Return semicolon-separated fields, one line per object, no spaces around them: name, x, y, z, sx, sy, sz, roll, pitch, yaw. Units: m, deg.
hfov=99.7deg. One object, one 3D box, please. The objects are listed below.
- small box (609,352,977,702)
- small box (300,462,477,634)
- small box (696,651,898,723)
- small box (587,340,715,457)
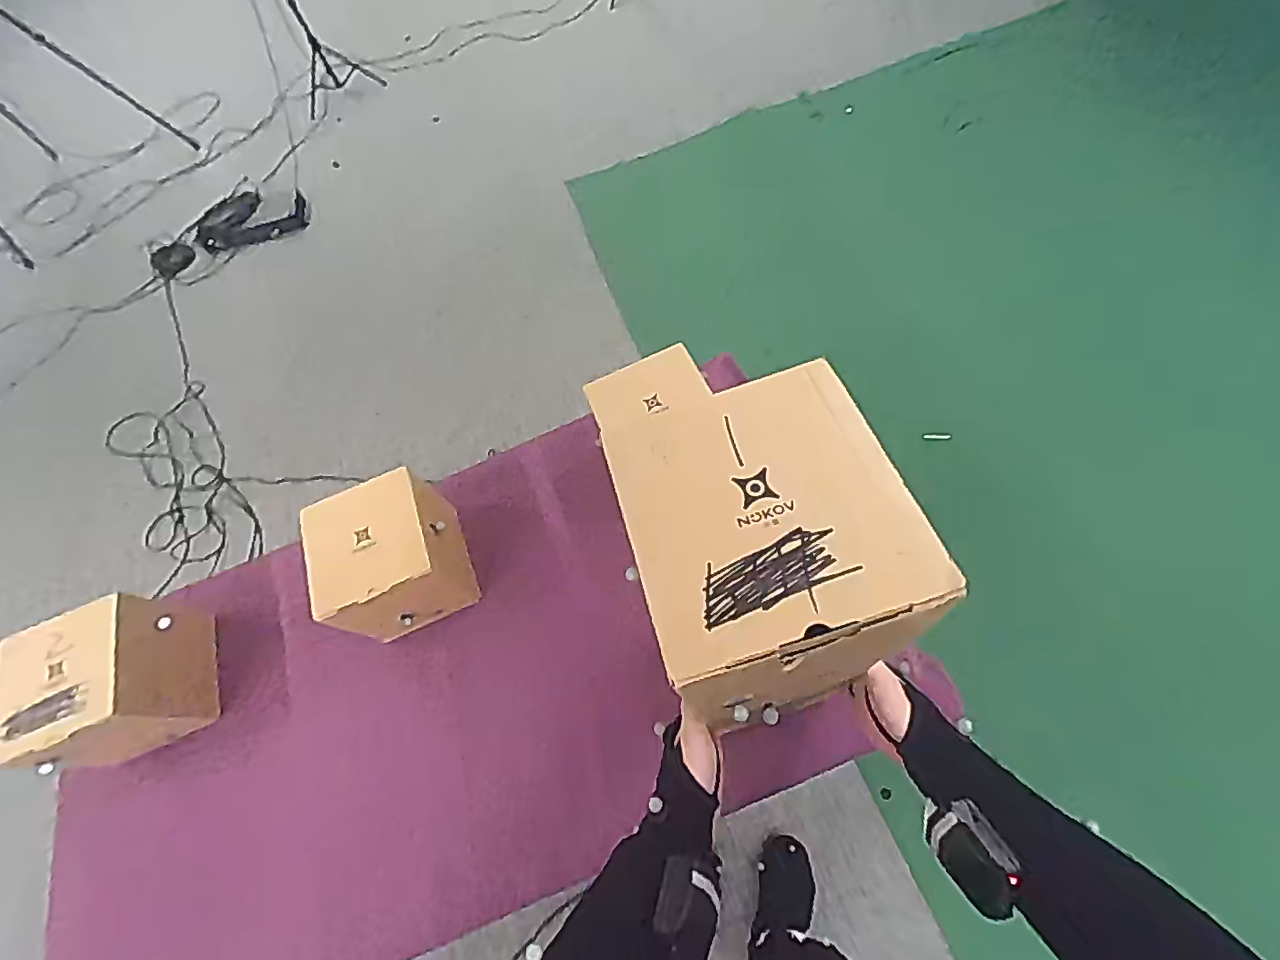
small box;0.091;0.047;0.388;0.168;0.176;0.179;-18;59;1
small box;-0.366;0.107;0.804;0.168;0.176;0.179;-23;64;-4
small box;0.116;0.122;0.532;0.168;0.176;0.179;-17;61;1
small box;0.037;-0.073;0.832;0.168;0.176;0.179;-24;64;-1
